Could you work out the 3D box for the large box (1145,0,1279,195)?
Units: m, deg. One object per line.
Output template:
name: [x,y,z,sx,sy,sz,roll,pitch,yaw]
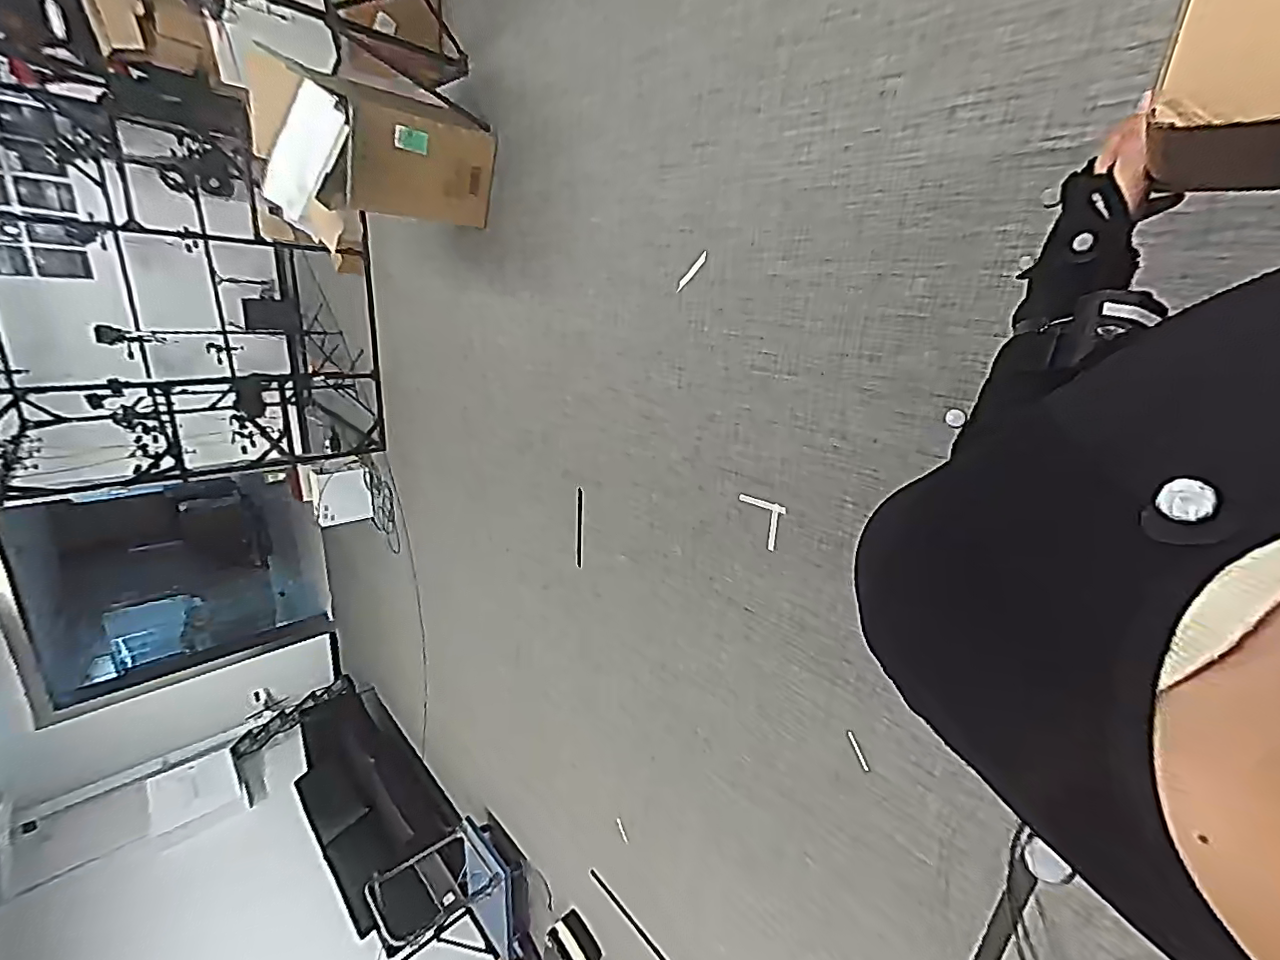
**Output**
large box: [0.471,-0.285,0.167,0.408,0.320,0.320,19,119,36]
